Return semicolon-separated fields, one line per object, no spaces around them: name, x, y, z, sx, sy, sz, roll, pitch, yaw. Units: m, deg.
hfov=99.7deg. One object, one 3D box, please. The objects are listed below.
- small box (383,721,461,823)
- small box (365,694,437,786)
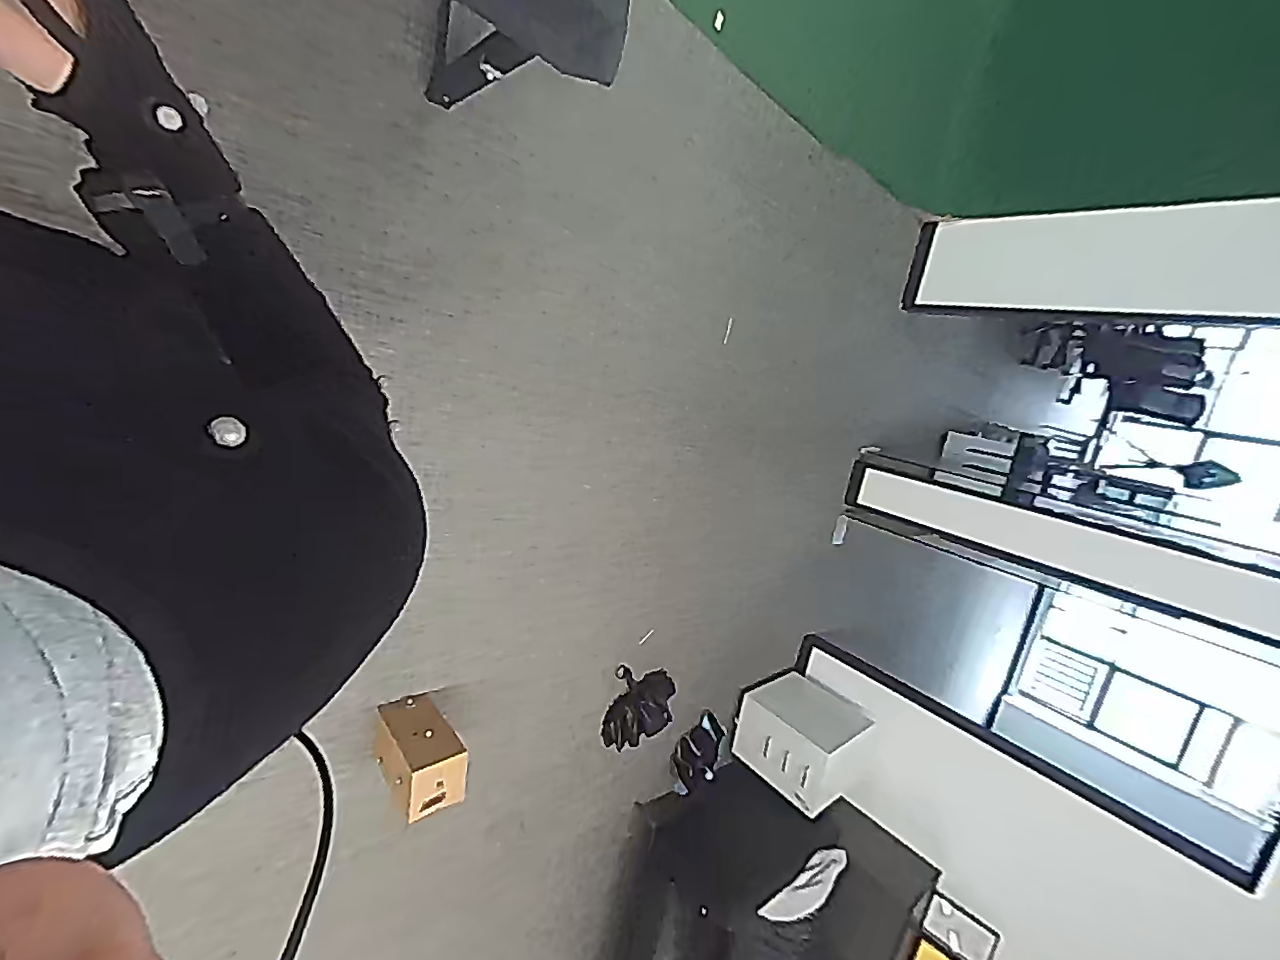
small box;-0.658;0.866;1.620;0.168;0.176;0.179;-3;108;-43
small box;-0.770;0.827;1.734;0.168;0.176;0.179;-3;107;-44
